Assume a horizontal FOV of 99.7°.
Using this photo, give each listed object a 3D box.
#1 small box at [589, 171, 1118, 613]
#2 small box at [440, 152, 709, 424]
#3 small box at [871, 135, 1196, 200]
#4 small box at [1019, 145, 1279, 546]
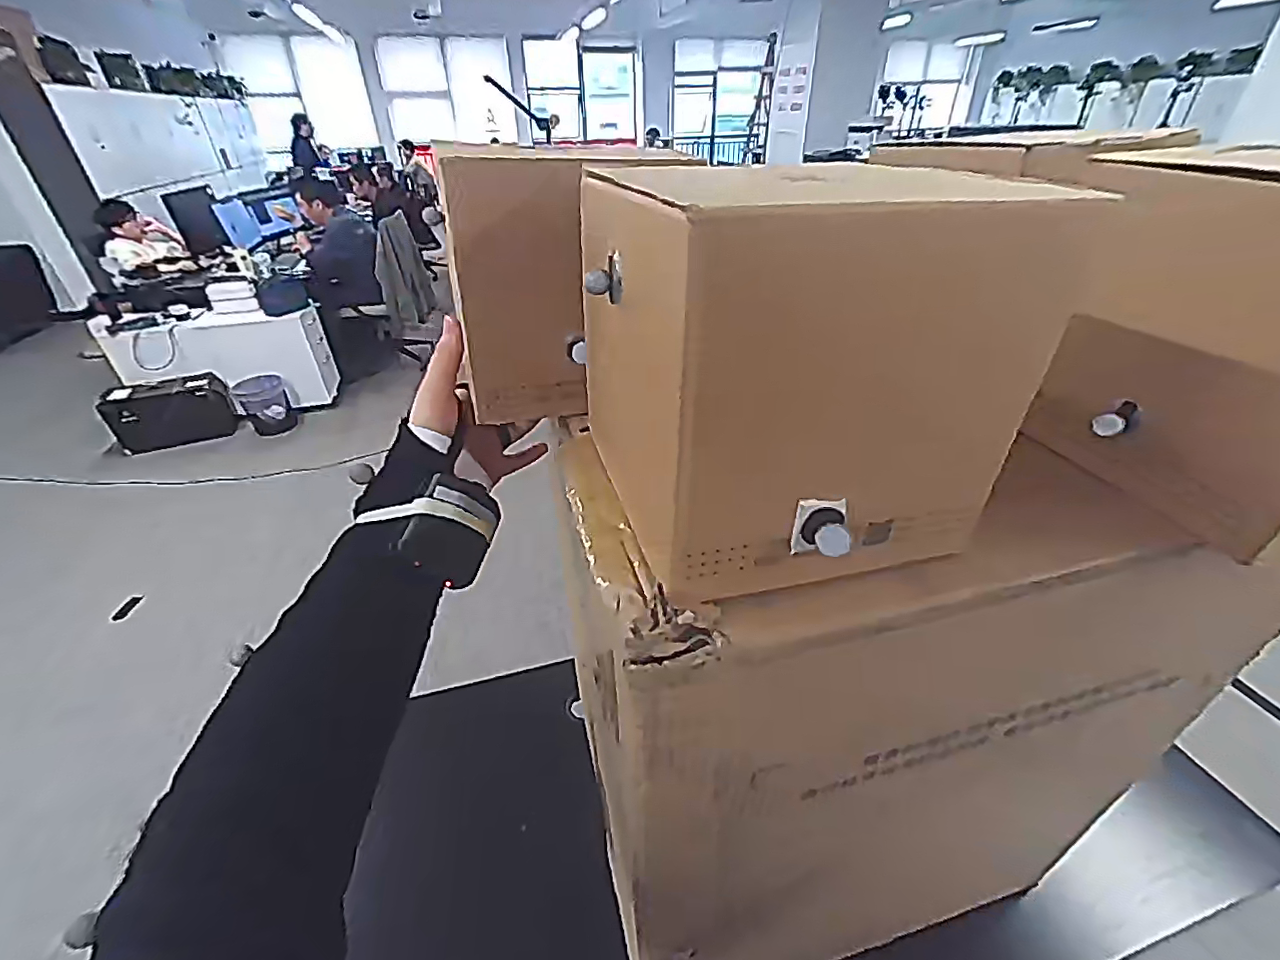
[{"bbox_3d":[0.070,-0.061,0.286,0.168,0.176,0.179,-9,35,-13],"label":"small box"},{"bbox_3d":[-0.061,-0.159,0.431,0.168,0.176,0.179,-9,34,-17],"label":"small box"},{"bbox_3d":[0.322,-0.214,0.501,0.168,0.176,0.179,-12,33,-12],"label":"small box"},{"bbox_3d":[0.356,-0.080,0.308,0.168,0.176,0.179,-11,38,-12],"label":"small box"}]
